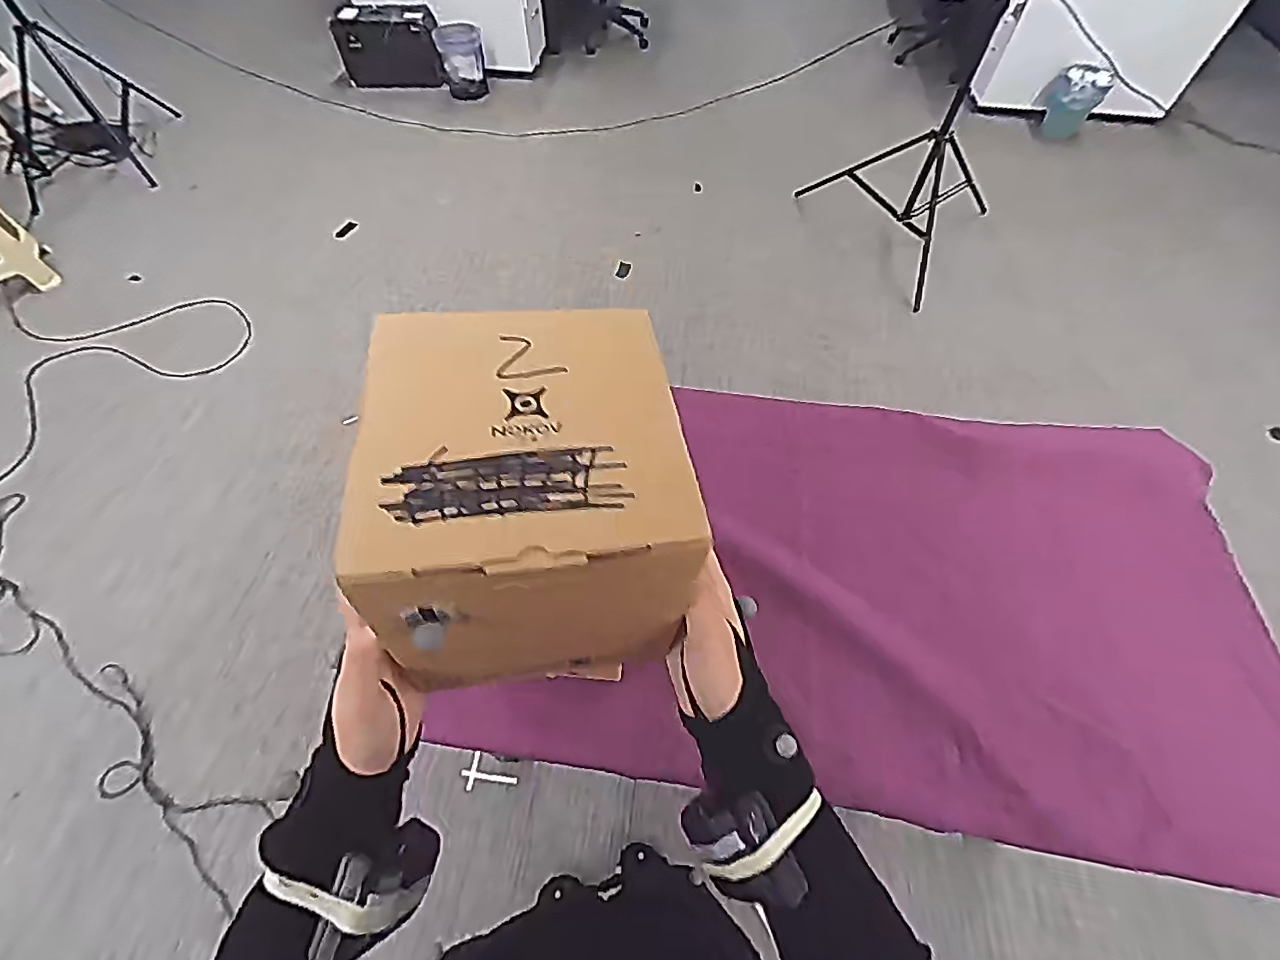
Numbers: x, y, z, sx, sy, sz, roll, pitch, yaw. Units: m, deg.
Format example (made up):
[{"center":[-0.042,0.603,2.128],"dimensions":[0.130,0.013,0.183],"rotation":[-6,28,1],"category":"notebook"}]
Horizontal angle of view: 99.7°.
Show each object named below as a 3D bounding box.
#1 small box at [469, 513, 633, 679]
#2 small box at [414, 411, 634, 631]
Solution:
[{"center":[-0.100,0.140,0.697],"dimensions":[0.168,0.176,0.179],"rotation":[5,57,3],"category":"small box"},{"center":[-0.100,0.049,0.563],"dimensions":[0.179,0.176,0.168],"rotation":[3,55,2],"category":"small box"}]
